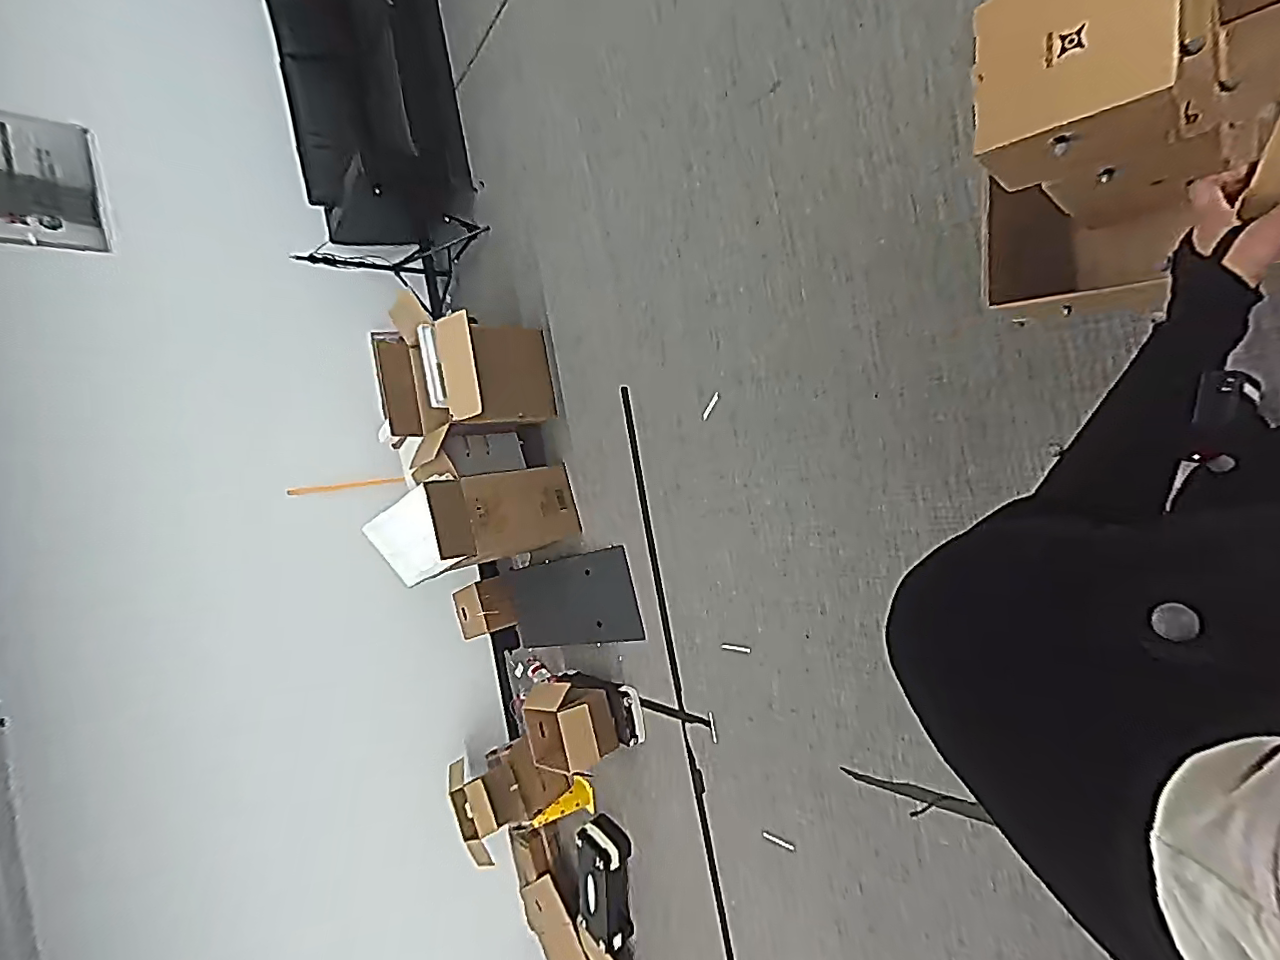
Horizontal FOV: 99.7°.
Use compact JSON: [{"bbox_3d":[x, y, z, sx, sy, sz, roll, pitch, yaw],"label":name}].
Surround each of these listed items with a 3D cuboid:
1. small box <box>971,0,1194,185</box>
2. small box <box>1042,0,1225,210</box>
[{"bbox_3d":[0.505,-0.468,0.620,0.179,0.176,0.168,4,99,48],"label":"small box"},{"bbox_3d":[0.643,-0.487,0.709,0.168,0.176,0.179,-1,96,49],"label":"small box"}]
